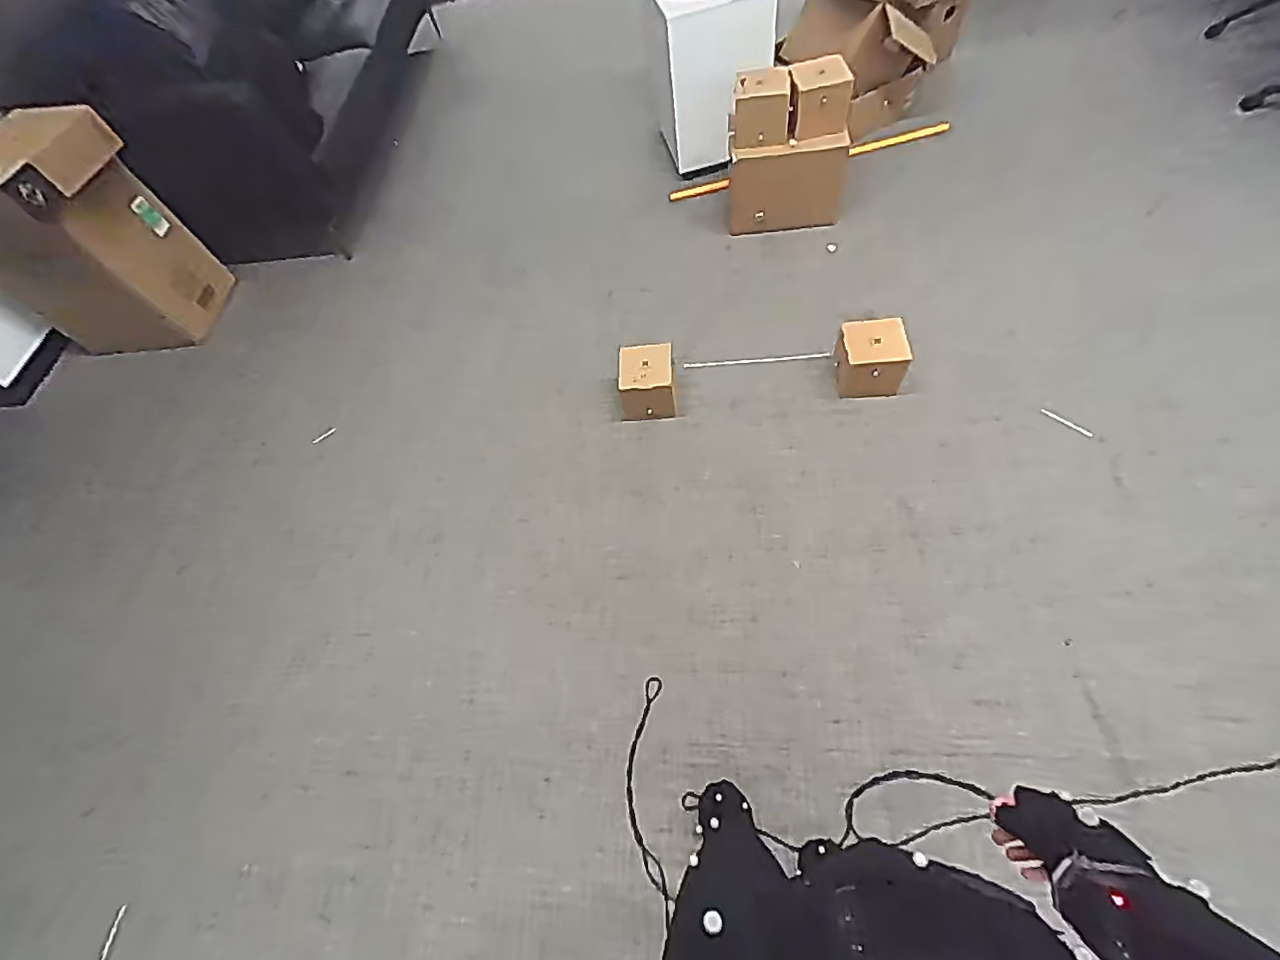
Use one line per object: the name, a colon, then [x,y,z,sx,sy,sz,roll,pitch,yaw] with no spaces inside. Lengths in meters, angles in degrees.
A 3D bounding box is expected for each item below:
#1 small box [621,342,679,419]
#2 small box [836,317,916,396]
small box: [0.035,-0.318,1.740,0.168,0.176,0.179,-4,61,8]
small box: [0.712,-0.373,1.652,0.179,0.176,0.168,-4,61,9]
